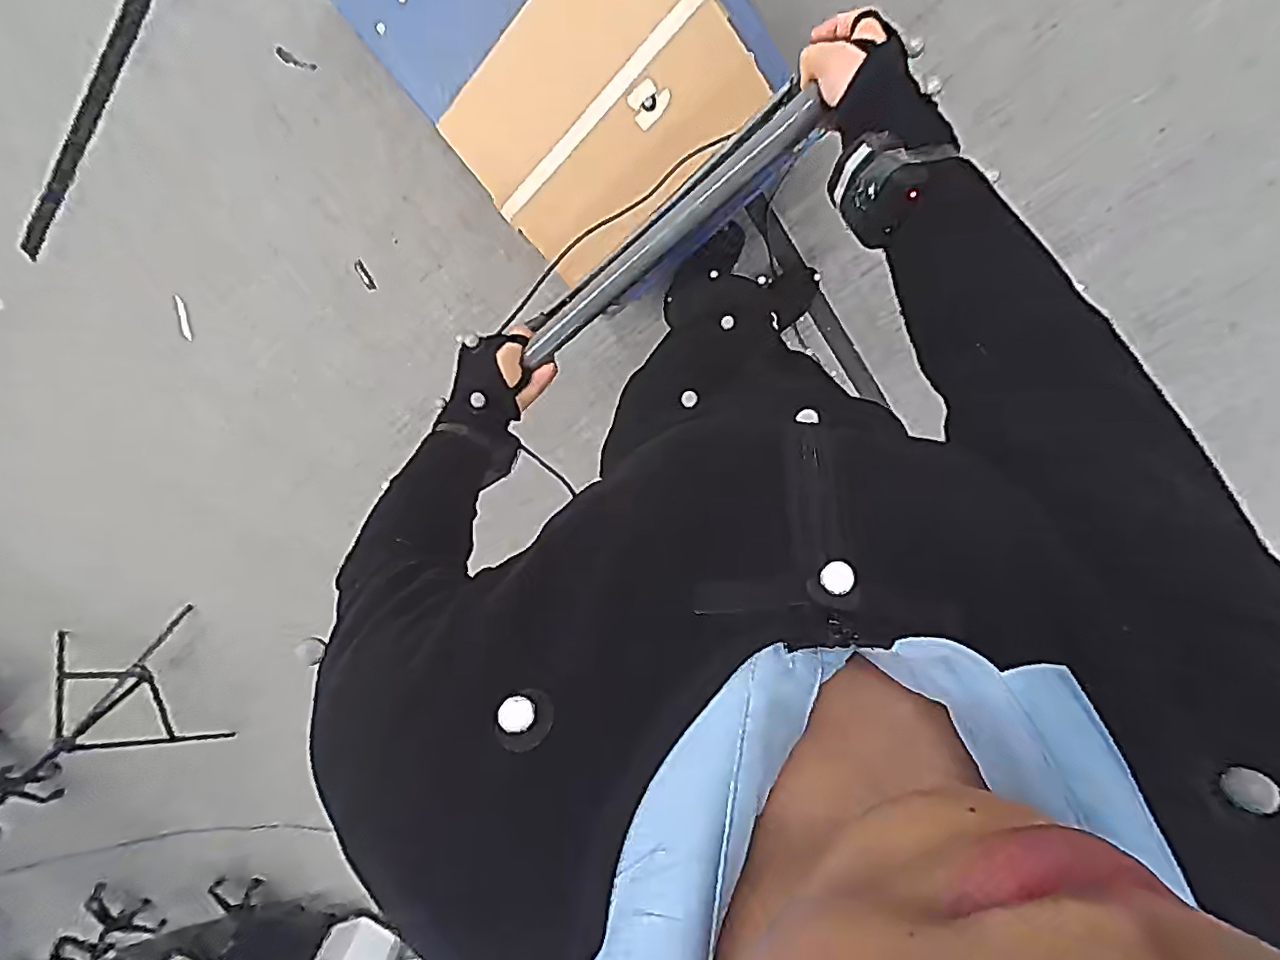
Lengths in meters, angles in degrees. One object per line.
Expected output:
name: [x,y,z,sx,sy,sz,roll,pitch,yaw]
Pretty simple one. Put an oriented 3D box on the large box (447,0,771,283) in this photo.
large box: [-0.036,-0.610,0.923,0.408,0.320,0.320,-35,108,24]
